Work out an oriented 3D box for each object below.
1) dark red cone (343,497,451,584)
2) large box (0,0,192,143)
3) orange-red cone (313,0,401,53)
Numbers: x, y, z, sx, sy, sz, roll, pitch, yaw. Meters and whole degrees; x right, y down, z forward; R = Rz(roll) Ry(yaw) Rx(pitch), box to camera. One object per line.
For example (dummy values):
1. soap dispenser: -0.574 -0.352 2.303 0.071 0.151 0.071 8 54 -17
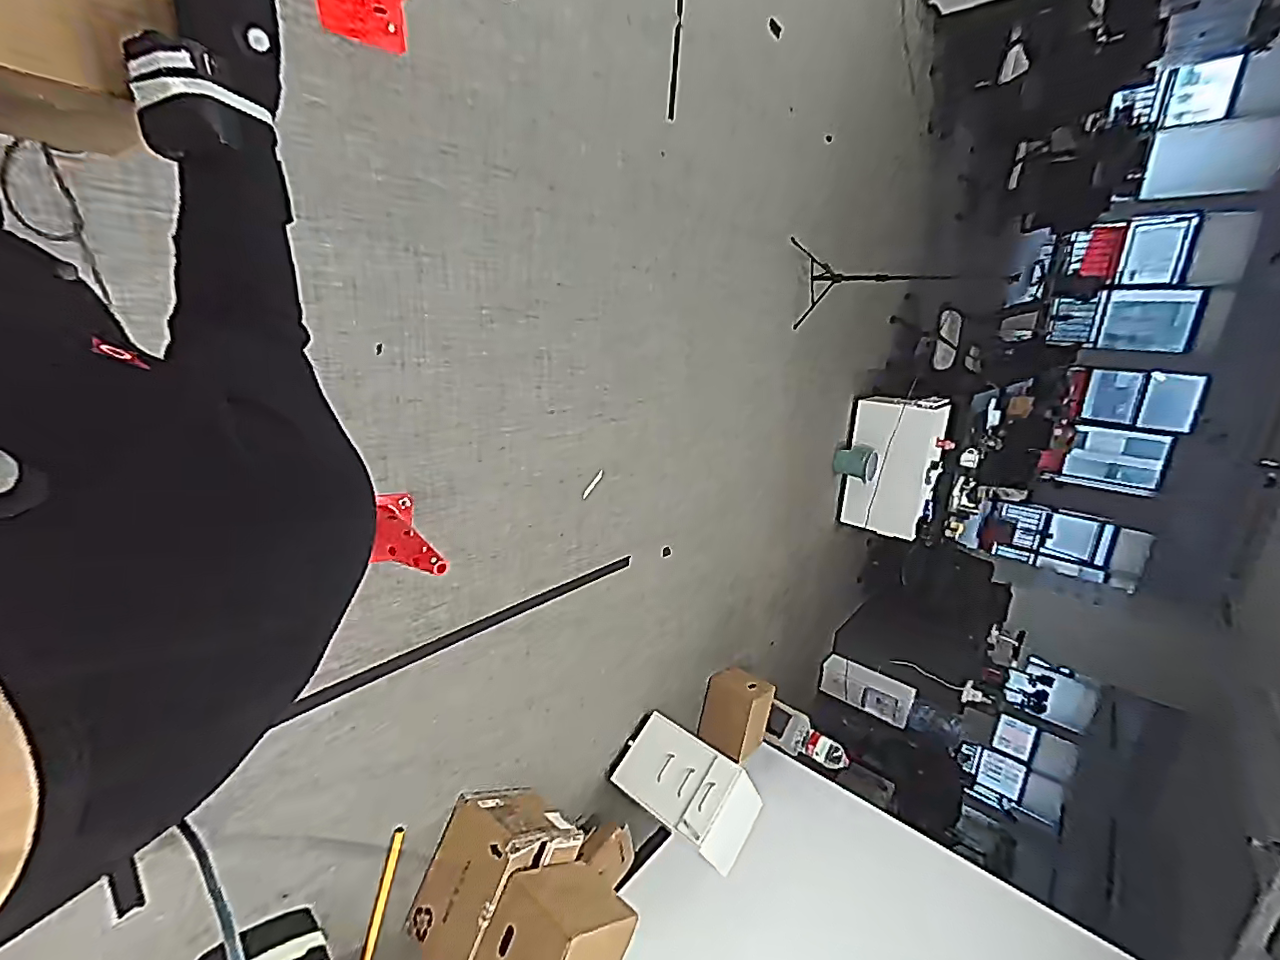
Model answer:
1. dark red cone: -0.611 0.184 1.418 0.201 0.394 0.202 -7 108 -48
2. large box: -0.562 -0.425 0.296 0.408 0.320 0.320 -16 118 -49
3. orange-red cone: -0.514 -1.079 1.121 0.198 0.360 0.199 -19 116 -47
